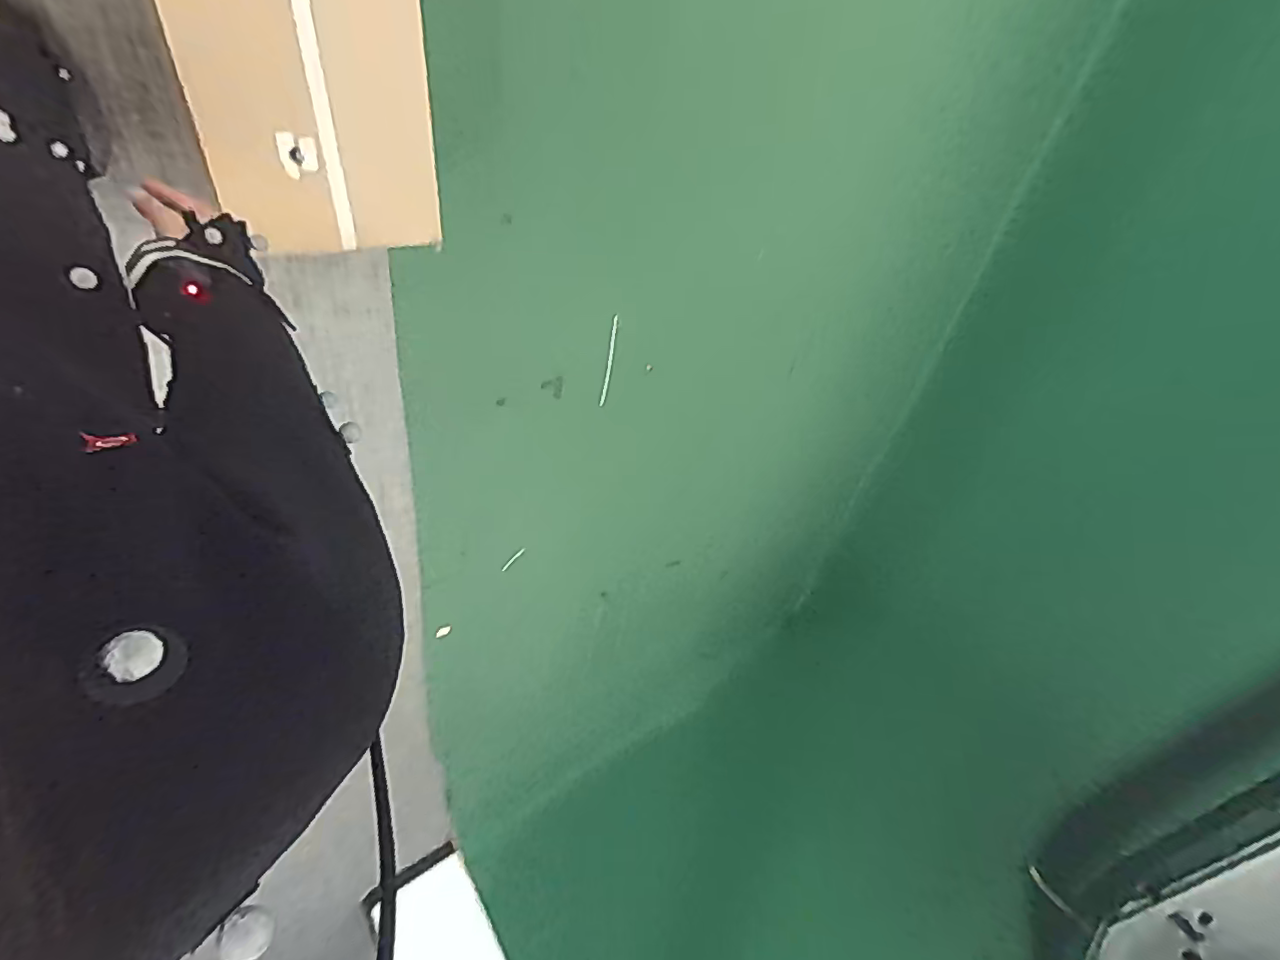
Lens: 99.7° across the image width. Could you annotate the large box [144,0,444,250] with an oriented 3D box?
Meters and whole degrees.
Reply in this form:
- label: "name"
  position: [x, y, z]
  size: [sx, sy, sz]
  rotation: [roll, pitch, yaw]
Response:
- label: "large box"
  position: [-0.536, -0.625, 0.846]
  size: [0.320, 0.320, 0.408]
  rotation: [-20, 138, -32]
